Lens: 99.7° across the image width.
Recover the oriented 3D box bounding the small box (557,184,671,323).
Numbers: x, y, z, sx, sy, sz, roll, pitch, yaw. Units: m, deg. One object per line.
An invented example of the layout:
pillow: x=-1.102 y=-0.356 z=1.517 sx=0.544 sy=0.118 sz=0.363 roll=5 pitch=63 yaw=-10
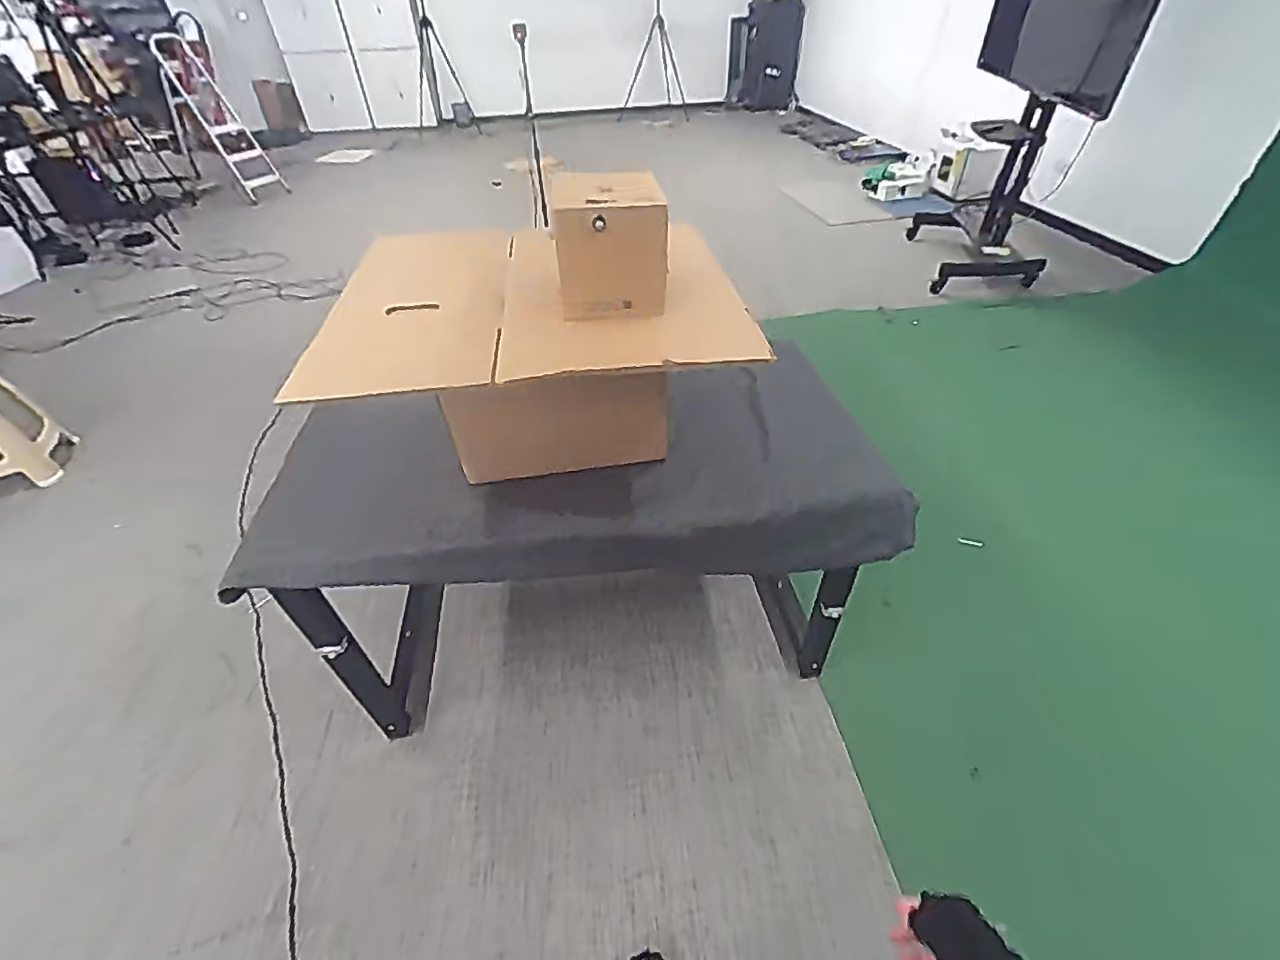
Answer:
small box: x=-0.045 y=-0.370 z=0.882 sx=0.168 sy=0.176 sz=0.179 roll=-4 pitch=41 yaw=-4
